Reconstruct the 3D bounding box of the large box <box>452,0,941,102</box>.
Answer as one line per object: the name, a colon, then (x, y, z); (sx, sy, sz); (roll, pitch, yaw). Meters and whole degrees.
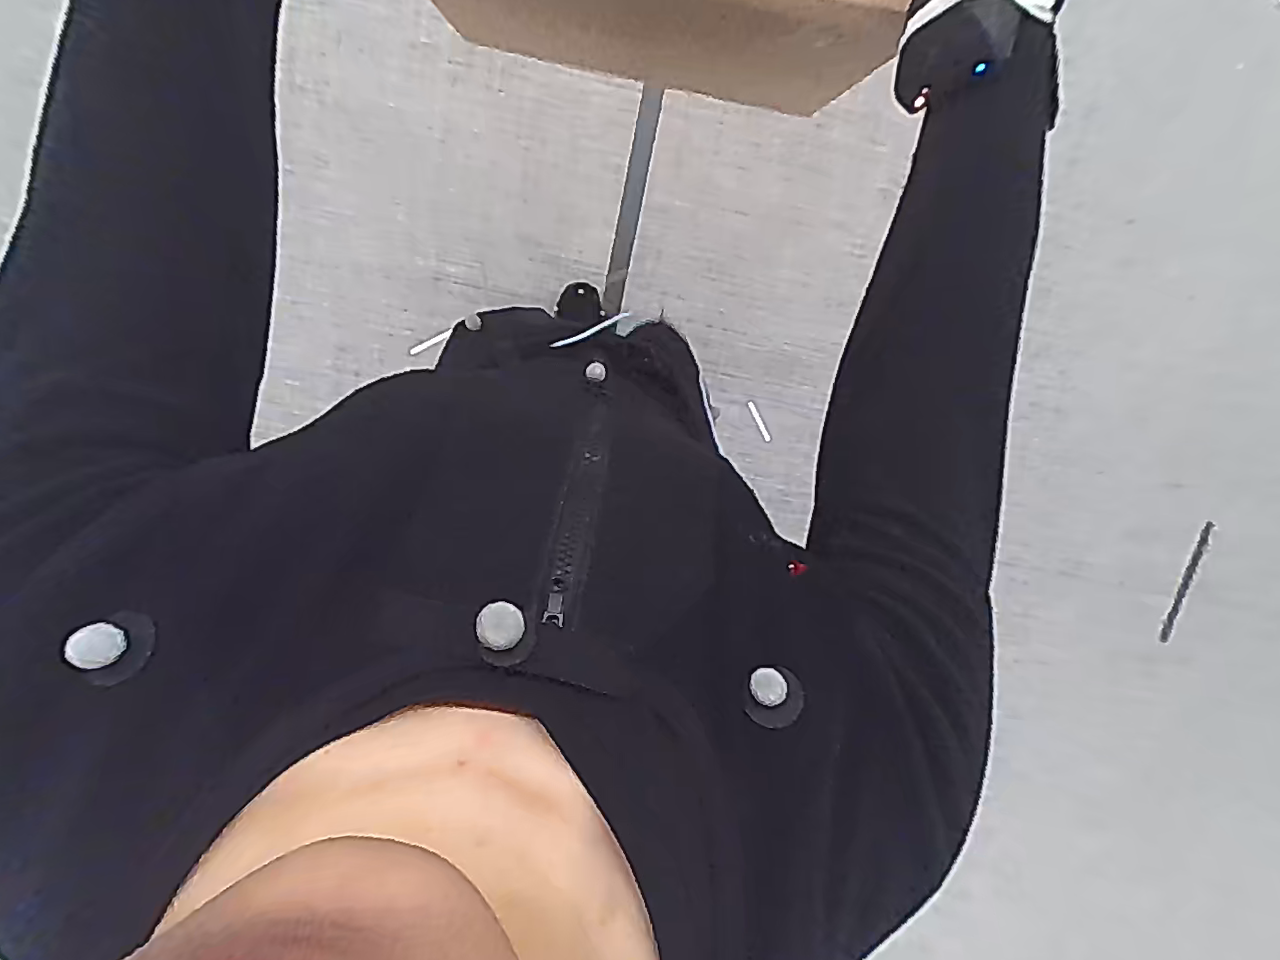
large box: (0.033, -0.544, 0.421); (0.408, 0.320, 0.320); (10, 115, -4)
